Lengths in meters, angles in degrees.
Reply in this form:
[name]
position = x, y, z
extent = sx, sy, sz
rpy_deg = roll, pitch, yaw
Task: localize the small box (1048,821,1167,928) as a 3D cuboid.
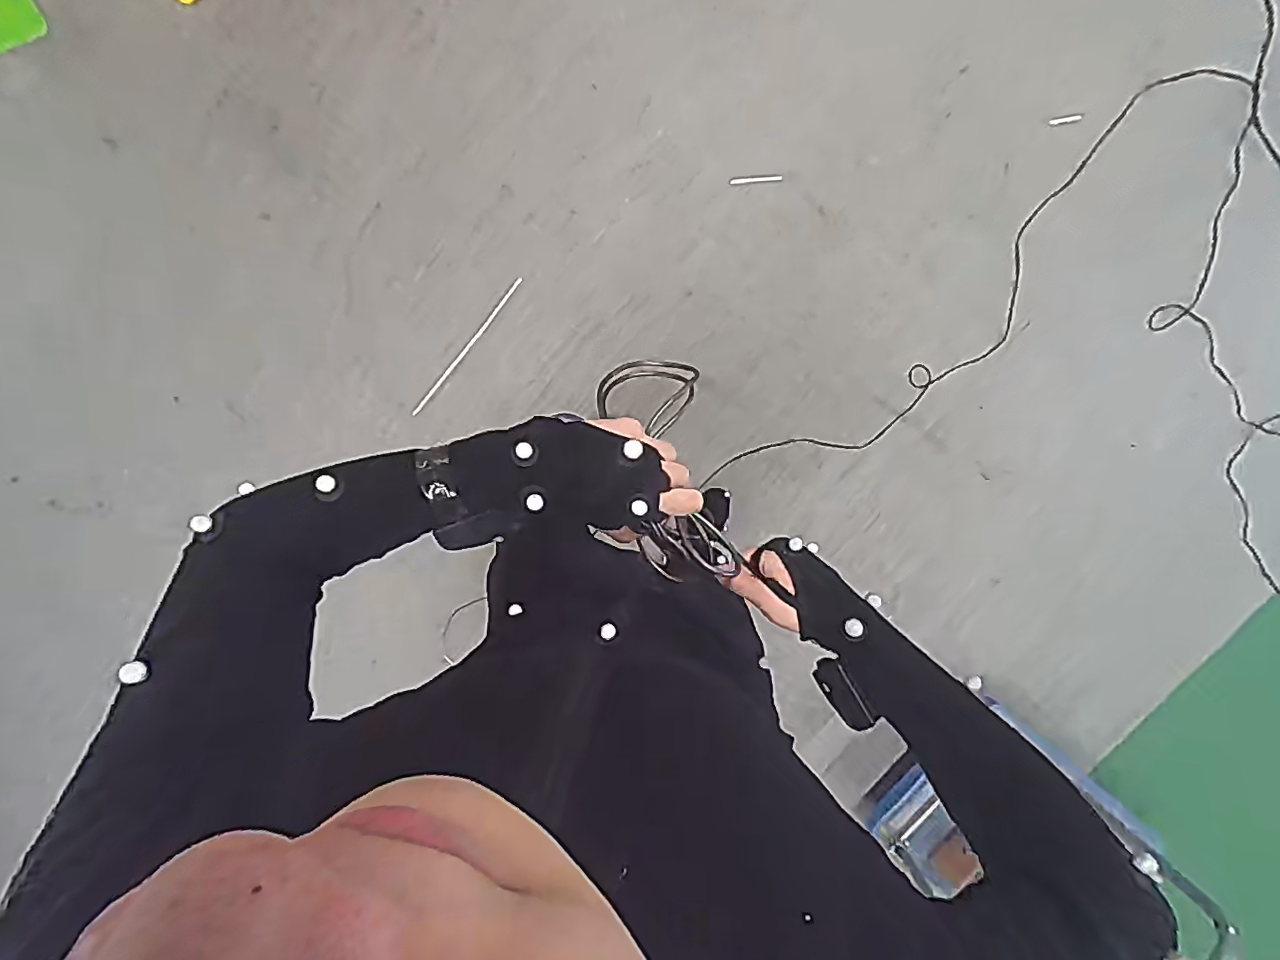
[small box]
position = 1.388, 1.170, 1.620
extent = 0.179, 0.176, 0.168
rpy_deg = 36, 96, -9
